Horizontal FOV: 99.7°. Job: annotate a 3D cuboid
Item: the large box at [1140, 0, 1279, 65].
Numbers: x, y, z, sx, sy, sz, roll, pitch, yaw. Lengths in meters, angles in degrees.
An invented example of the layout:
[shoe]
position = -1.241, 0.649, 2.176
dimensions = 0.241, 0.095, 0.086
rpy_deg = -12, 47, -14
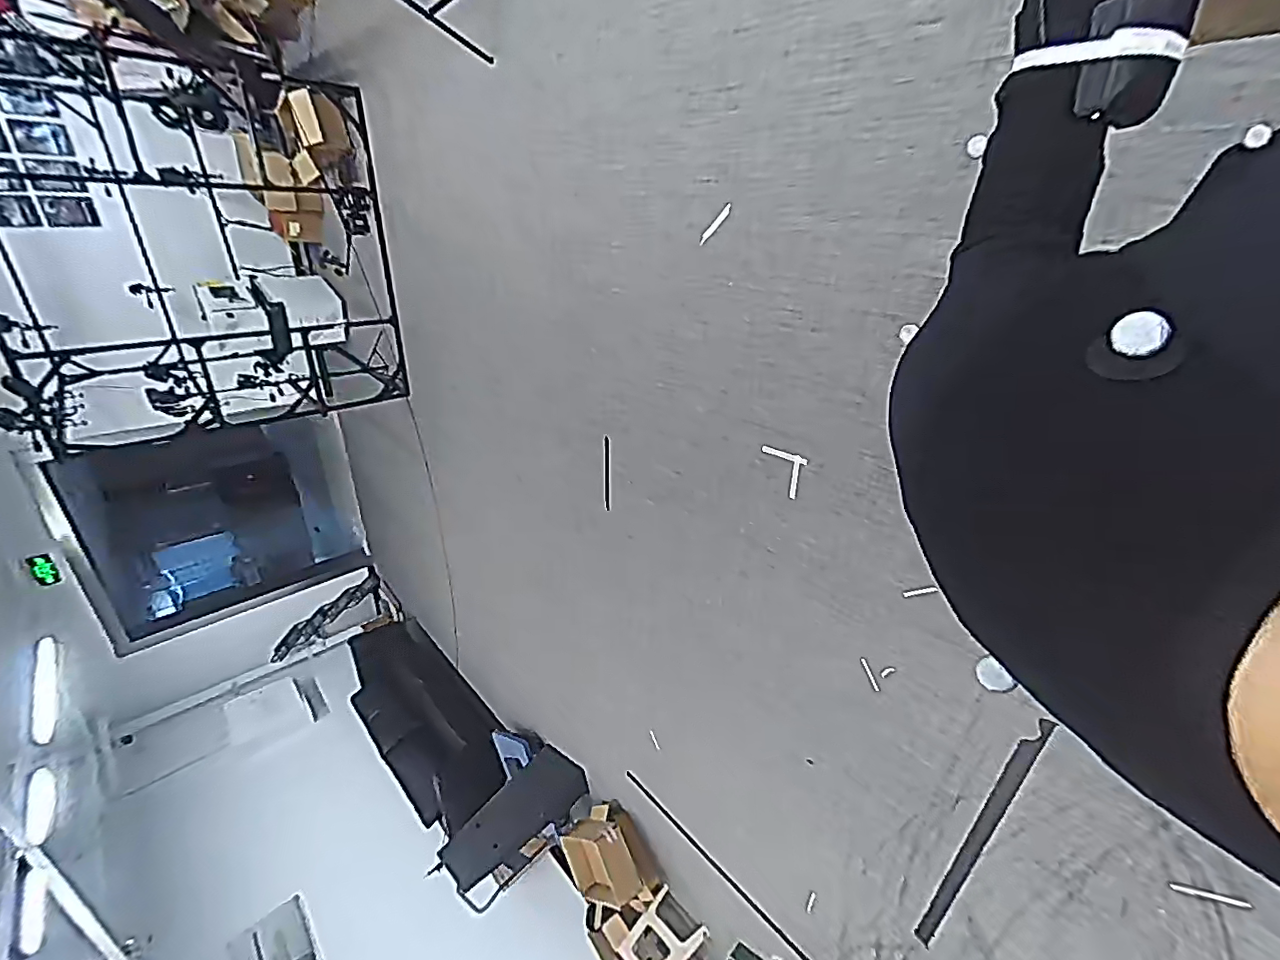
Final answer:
[large box]
position = 0.543, -0.433, 0.242
dimensions = 0.408, 0.320, 0.320
rpy_deg = 21, 126, 39
